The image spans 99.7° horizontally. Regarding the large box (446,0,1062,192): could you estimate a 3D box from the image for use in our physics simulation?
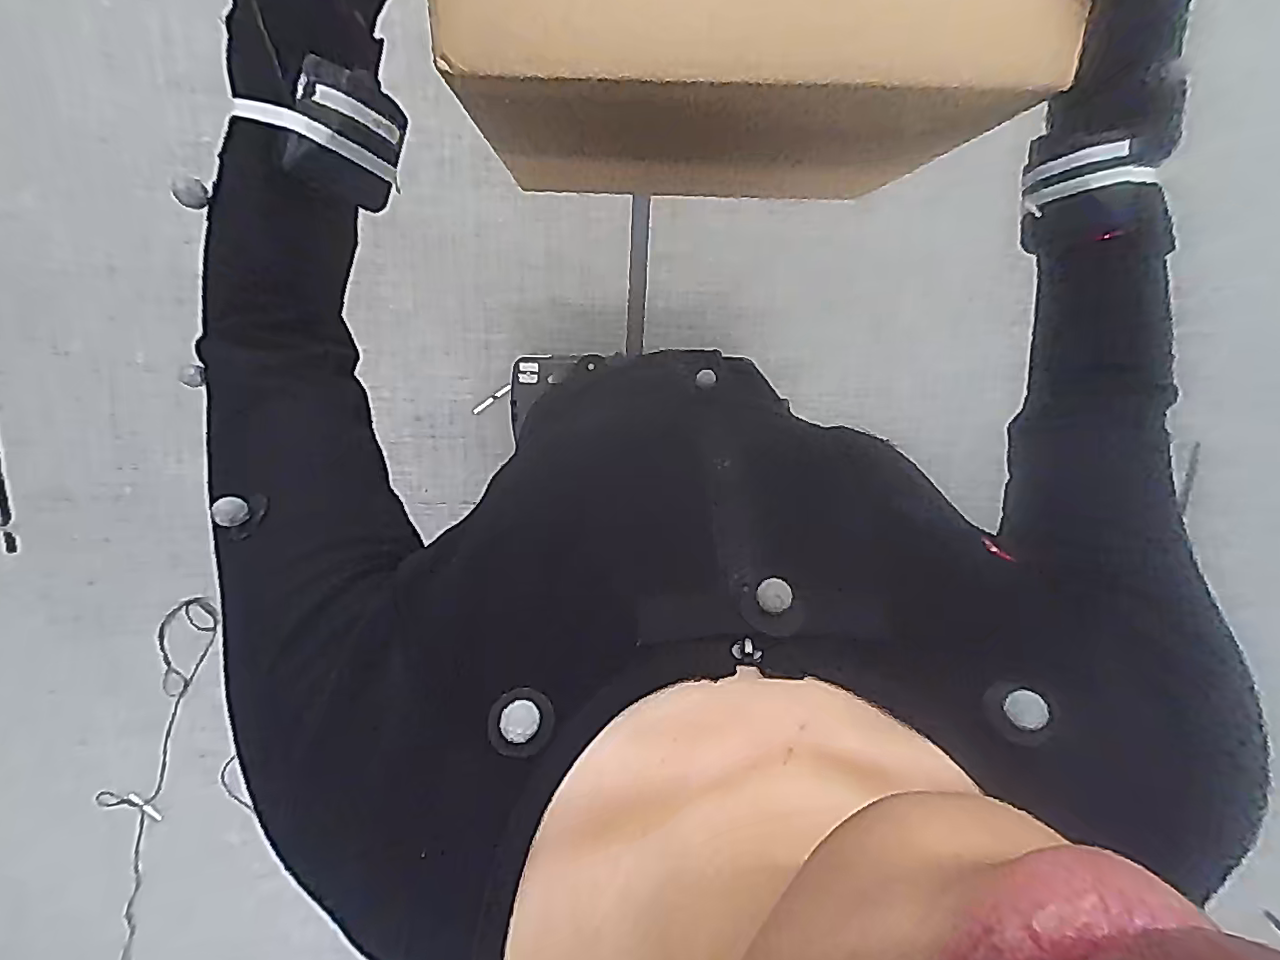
[{"bbox_3d":[0.066,-0.450,0.456,0.408,0.320,0.320,-1,106,-3],"label":"large box"}]

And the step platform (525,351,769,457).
[{"bbox_3d":[0.019,-0.221,1.544,0.684,0.204,0.286,-1,103,-3],"label":"step platform"}]
